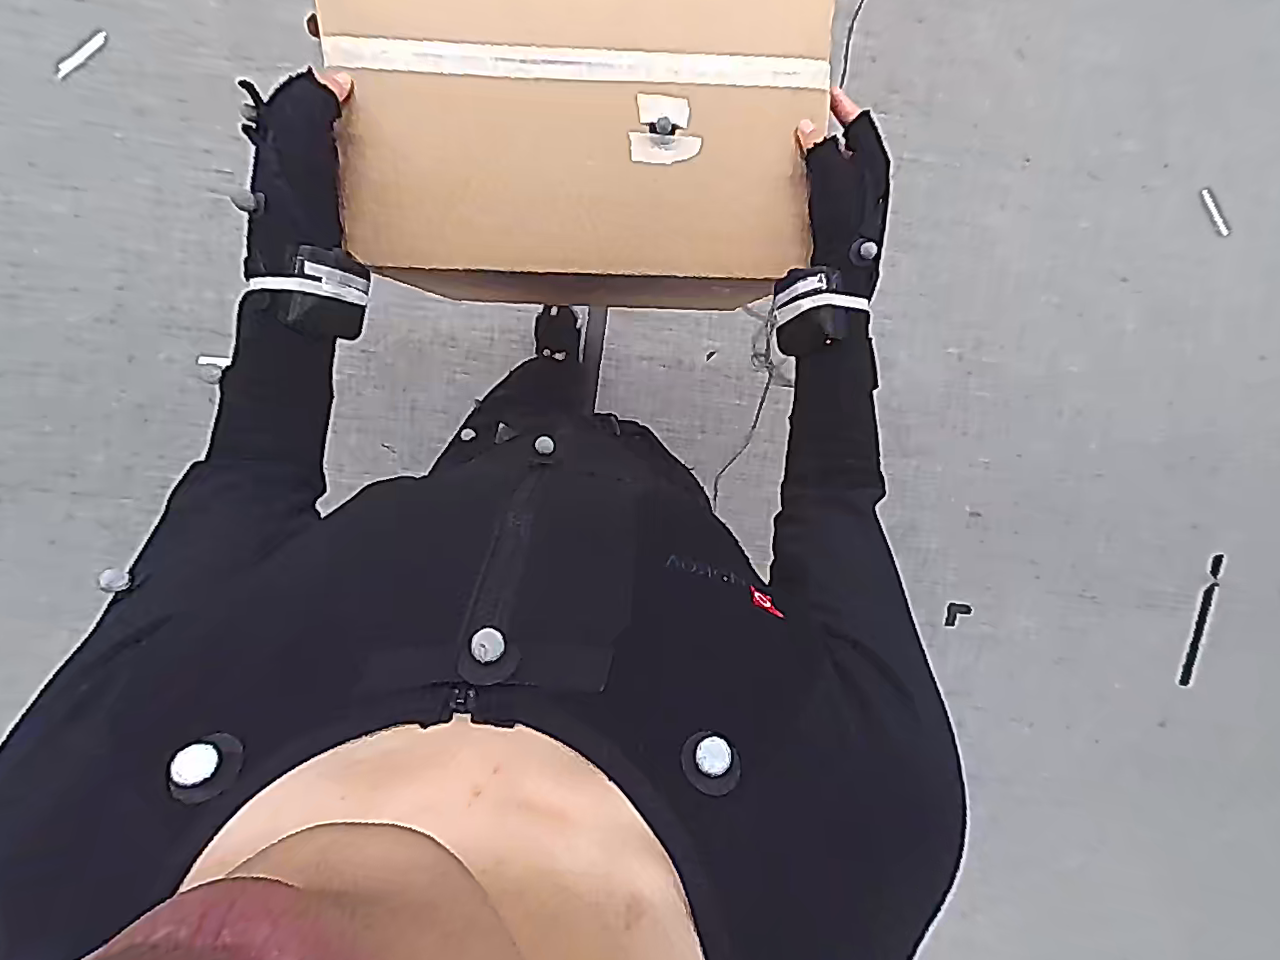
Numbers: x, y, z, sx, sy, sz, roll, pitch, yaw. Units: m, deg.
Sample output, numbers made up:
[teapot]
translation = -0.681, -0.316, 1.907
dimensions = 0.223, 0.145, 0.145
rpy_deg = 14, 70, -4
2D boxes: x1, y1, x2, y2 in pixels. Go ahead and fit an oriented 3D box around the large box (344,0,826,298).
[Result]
[large box]
translation = -0.053, -0.380, 0.600
dimensions = 0.408, 0.320, 0.320
rpy_deg = 0, 104, -4
